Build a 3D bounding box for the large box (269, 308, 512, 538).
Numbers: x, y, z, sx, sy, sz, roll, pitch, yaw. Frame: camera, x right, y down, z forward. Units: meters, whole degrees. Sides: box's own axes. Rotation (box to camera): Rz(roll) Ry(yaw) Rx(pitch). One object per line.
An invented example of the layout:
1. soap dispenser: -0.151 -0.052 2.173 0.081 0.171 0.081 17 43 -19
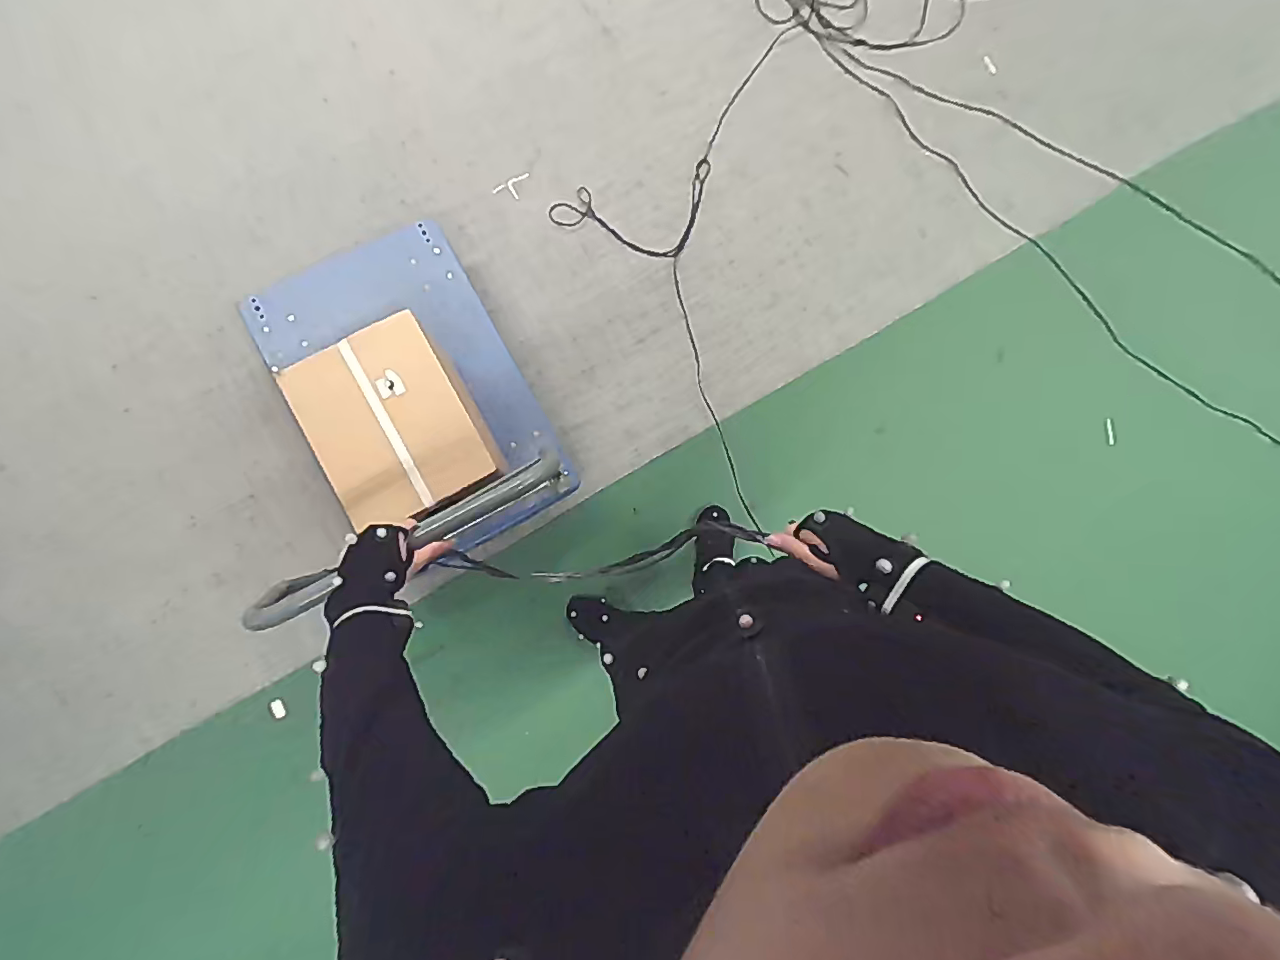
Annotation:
1. large box: -0.551 -0.110 1.275 0.320 0.320 0.408 -29 87 -8
